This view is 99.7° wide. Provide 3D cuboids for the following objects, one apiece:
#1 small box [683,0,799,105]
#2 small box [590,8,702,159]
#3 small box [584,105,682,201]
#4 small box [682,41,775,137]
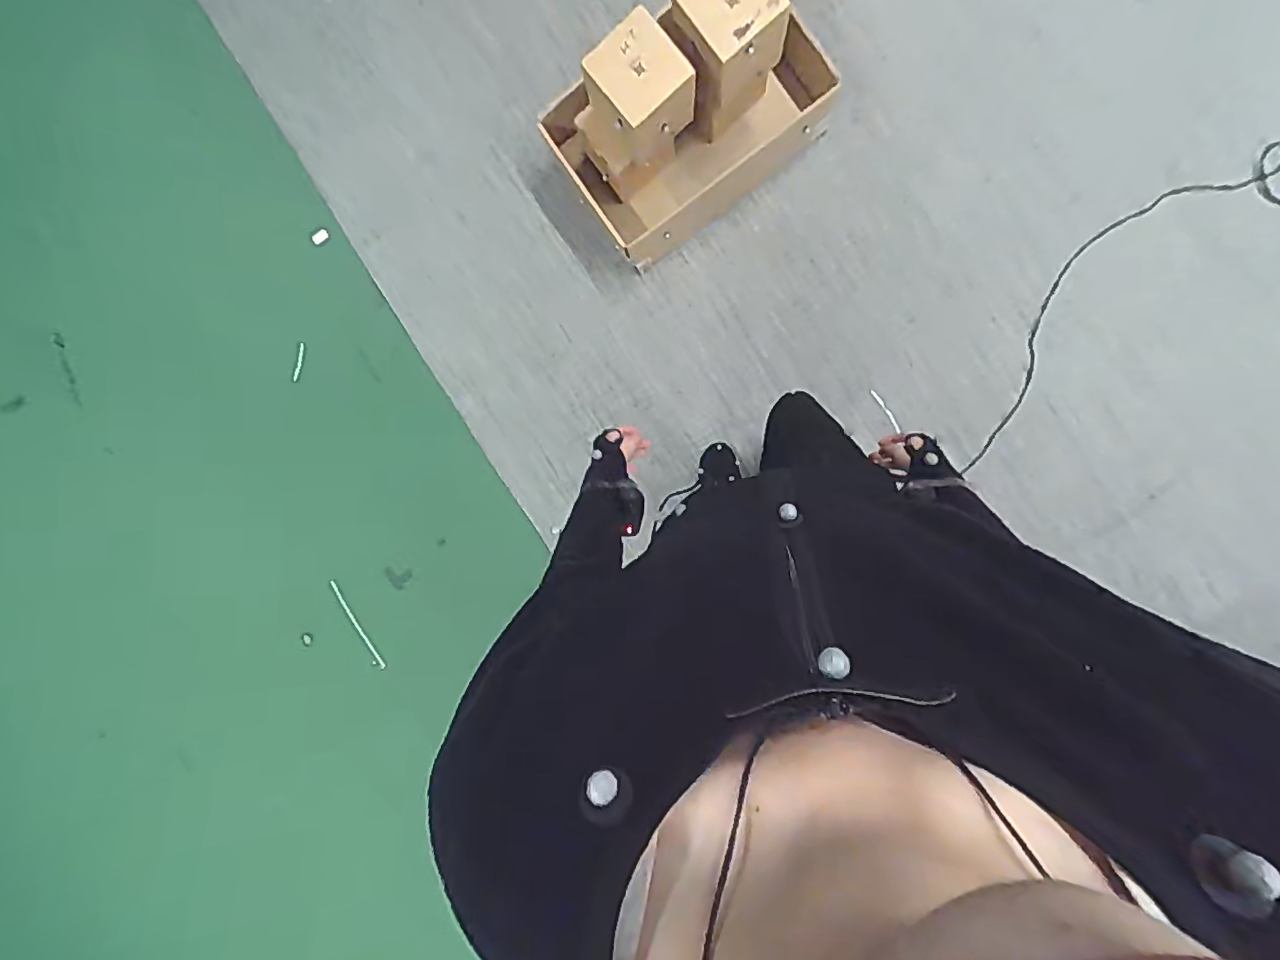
[{"bbox_3d":[0.206,-0.948,1.133,0.168,0.176,0.179,-37,88,11],"label":"small box"},{"bbox_3d":[0.021,-0.837,1.171,0.168,0.176,0.179,-39,90,7],"label":"small box"},{"bbox_3d":[-0.008,-0.837,1.340,0.179,0.176,0.168,-38,90,7],"label":"small box"},{"bbox_3d":[0.211,-0.977,1.296,0.179,0.176,0.168,-41,88,10],"label":"small box"}]
